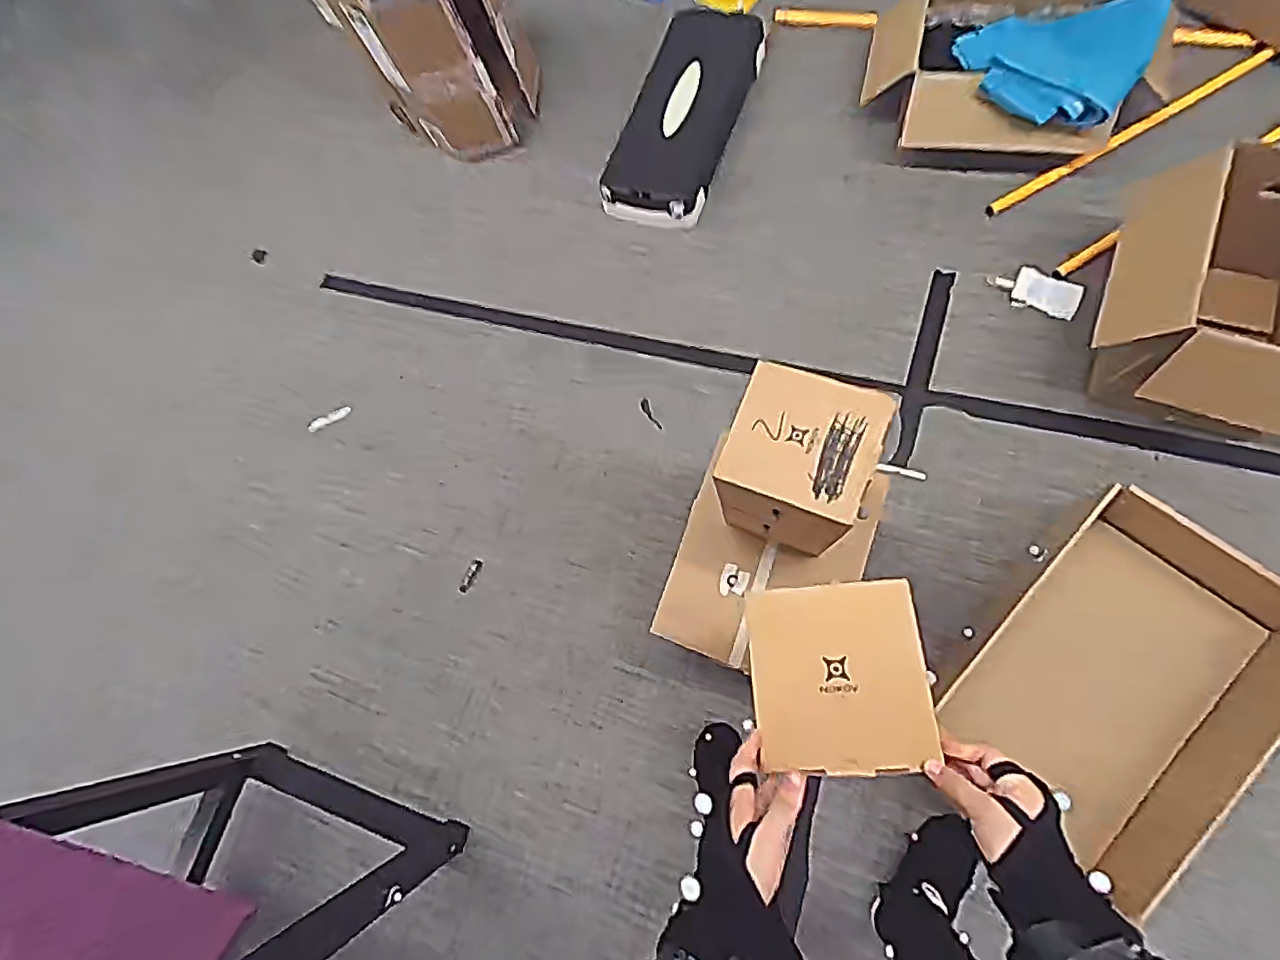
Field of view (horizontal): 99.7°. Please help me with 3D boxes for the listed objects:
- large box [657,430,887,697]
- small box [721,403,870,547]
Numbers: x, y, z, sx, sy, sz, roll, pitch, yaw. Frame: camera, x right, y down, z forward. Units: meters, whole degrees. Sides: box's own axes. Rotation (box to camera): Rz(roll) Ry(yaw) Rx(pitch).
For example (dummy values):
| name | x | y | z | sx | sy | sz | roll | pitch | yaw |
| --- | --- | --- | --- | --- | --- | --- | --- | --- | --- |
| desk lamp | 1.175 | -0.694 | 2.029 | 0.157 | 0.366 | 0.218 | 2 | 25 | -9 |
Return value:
| name | x | y | z | sx | sy | sz | roll | pitch | yaw |
| --- | --- | --- | --- | --- | --- | --- | --- | --- | --- |
| large box | 0.258 | 0.163 | 1.092 | 0.320 | 0.320 | 0.408 | 17 | 80 | 15 |
| small box | 0.245 | 0.000 | 0.878 | 0.179 | 0.176 | 0.168 | 20 | 82 | 15 |
